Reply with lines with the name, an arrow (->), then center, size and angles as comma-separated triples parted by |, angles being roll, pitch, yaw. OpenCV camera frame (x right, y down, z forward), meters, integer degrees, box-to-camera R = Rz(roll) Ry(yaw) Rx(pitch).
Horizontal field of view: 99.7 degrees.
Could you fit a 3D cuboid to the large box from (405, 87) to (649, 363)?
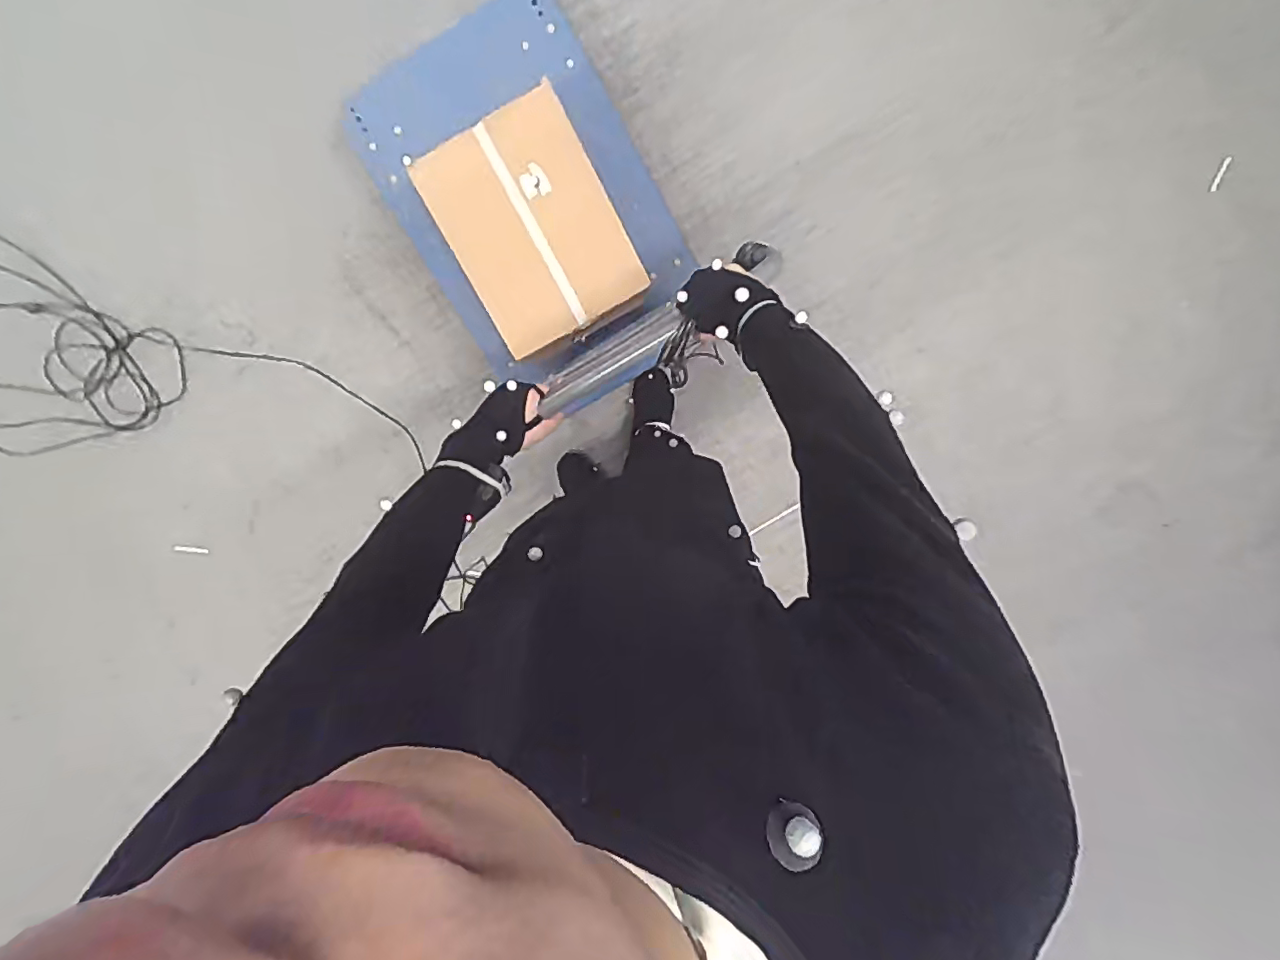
large box -> -0.212, -0.504, 1.171 | 0.320, 0.320, 0.408 | -28, 101, 3
